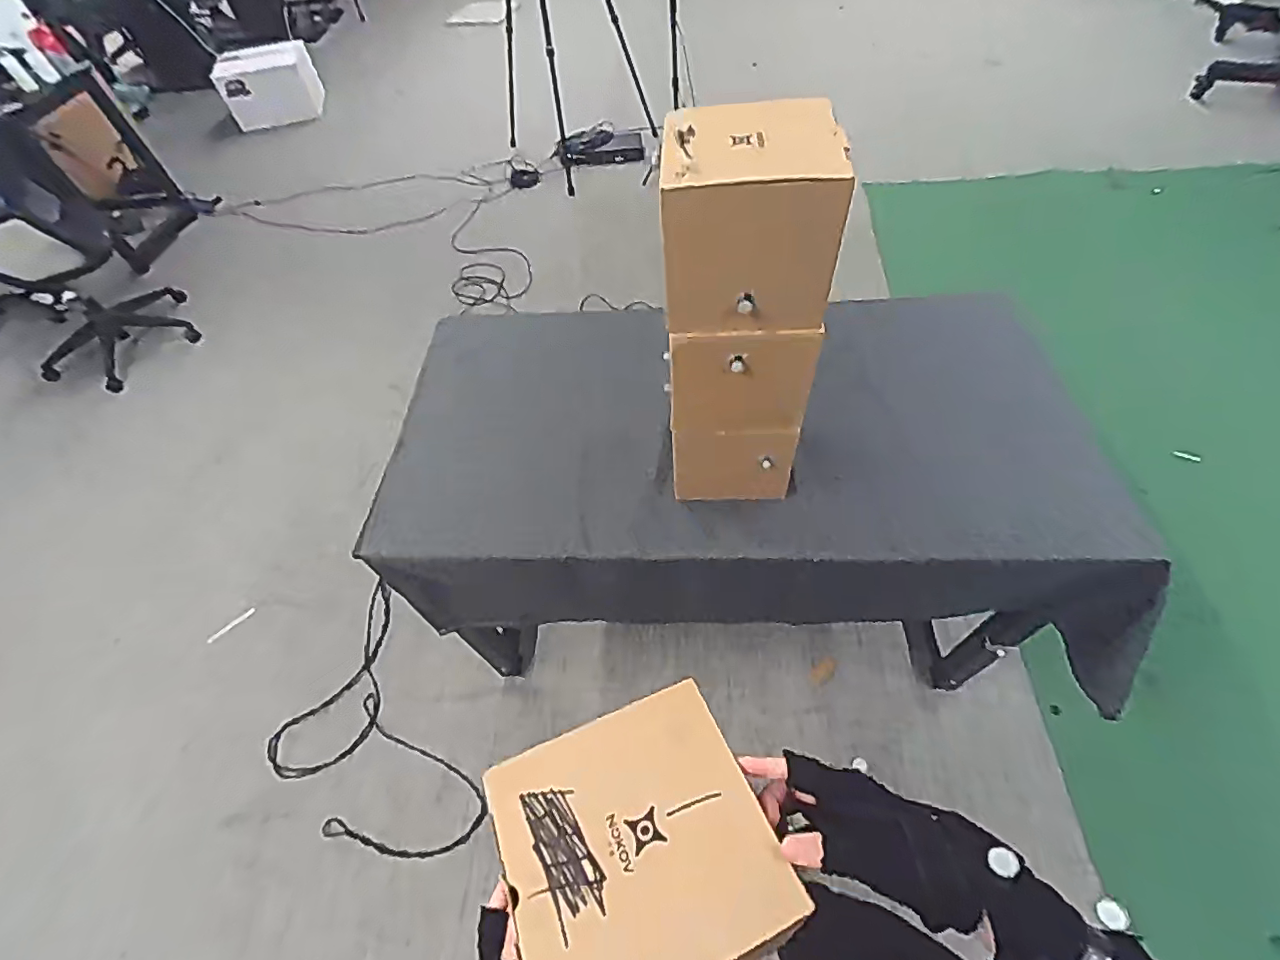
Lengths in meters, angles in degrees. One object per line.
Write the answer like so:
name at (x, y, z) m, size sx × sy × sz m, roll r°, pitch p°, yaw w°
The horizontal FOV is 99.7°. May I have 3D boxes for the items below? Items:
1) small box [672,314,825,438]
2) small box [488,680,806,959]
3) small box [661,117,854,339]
small box at (0.133, -0.170, 0.727) m, size 0.179 × 0.176 × 0.168 m, roll -1°, pitch 54°, yaw 5°
small box at (0.001, 0.298, 0.421) m, size 0.179 × 0.176 × 0.168 m, roll -19°, pitch 45°, yaw -14°
small box at (0.117, -0.272, 0.599) m, size 0.179 × 0.176 × 0.168 m, roll 1°, pitch 54°, yaw 6°
